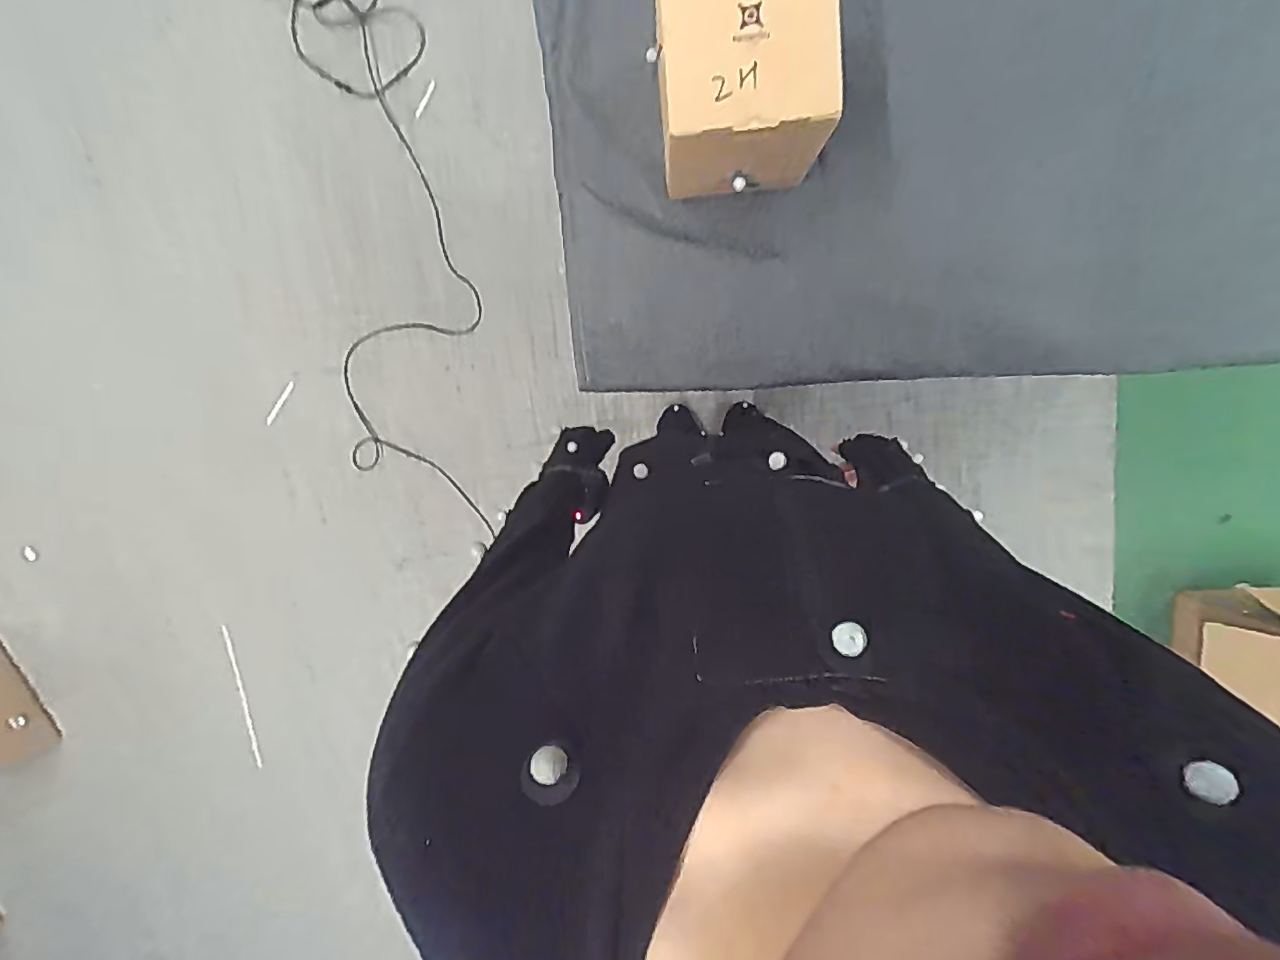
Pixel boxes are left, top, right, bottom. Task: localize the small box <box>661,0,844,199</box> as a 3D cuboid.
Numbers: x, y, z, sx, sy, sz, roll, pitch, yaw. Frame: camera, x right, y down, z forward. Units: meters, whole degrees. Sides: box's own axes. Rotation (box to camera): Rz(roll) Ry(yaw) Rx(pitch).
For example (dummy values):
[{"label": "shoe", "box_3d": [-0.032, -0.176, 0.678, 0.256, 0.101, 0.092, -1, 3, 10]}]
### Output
[{"label": "small box", "box_3d": [0.110, -0.435, 0.587, 0.168, 0.176, 0.179, -5, 97, 4]}]
